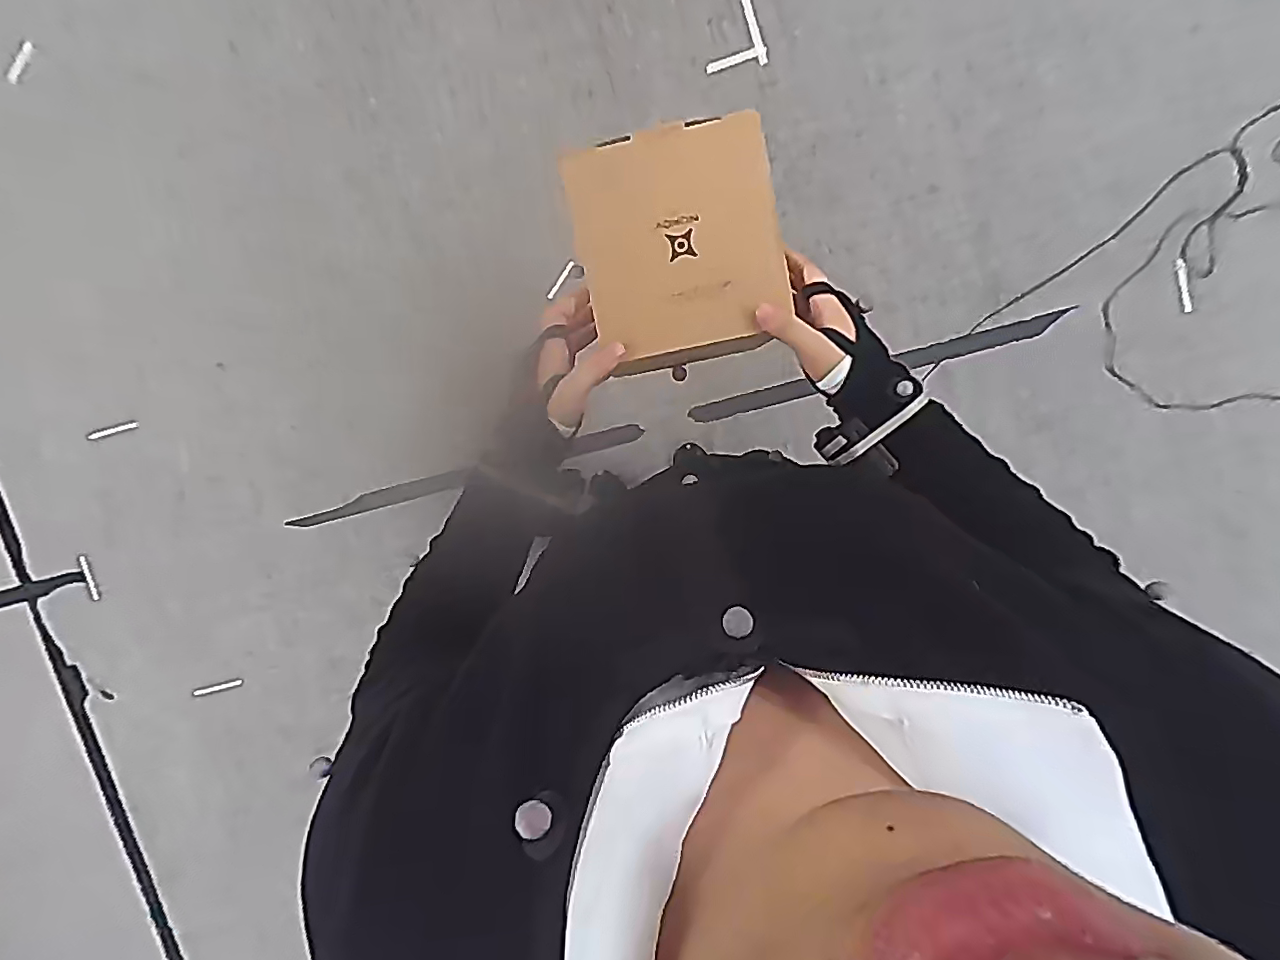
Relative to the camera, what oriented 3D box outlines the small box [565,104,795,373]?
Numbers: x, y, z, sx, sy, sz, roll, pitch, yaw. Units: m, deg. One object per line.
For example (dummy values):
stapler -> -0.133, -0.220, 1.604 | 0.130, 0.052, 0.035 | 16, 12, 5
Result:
small box -> 0.034, -0.210, 0.521 | 0.168, 0.176, 0.179 | -12, 97, 2
